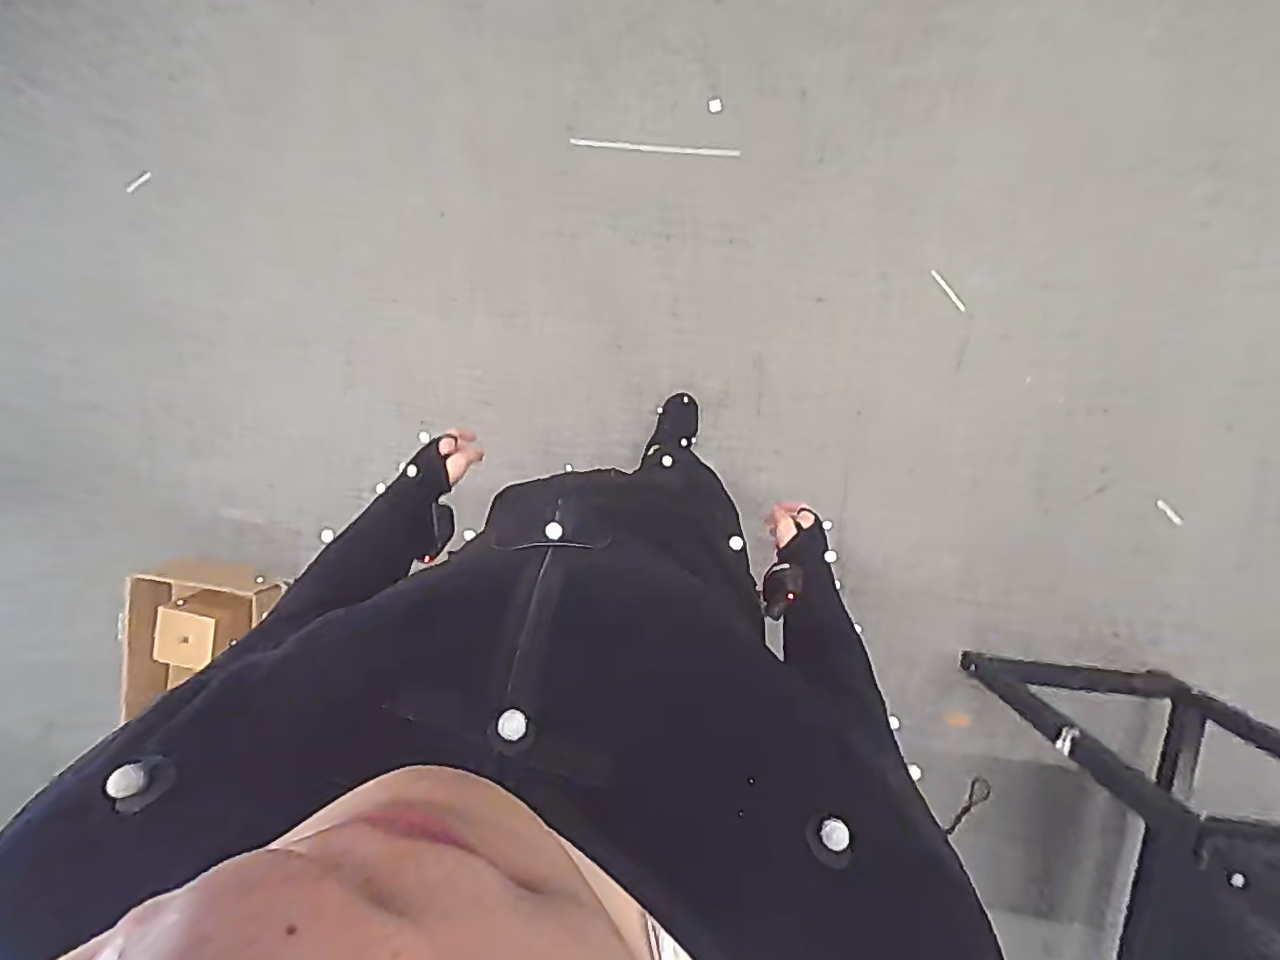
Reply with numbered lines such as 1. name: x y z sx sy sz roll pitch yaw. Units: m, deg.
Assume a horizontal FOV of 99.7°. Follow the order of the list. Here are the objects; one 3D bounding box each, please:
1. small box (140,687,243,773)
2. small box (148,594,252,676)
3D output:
1. small box: -1.352 0.749 1.639 0.179 0.176 0.168 8 94 4
2. small box: -1.303 0.454 1.611 0.179 0.176 0.168 12 96 3
